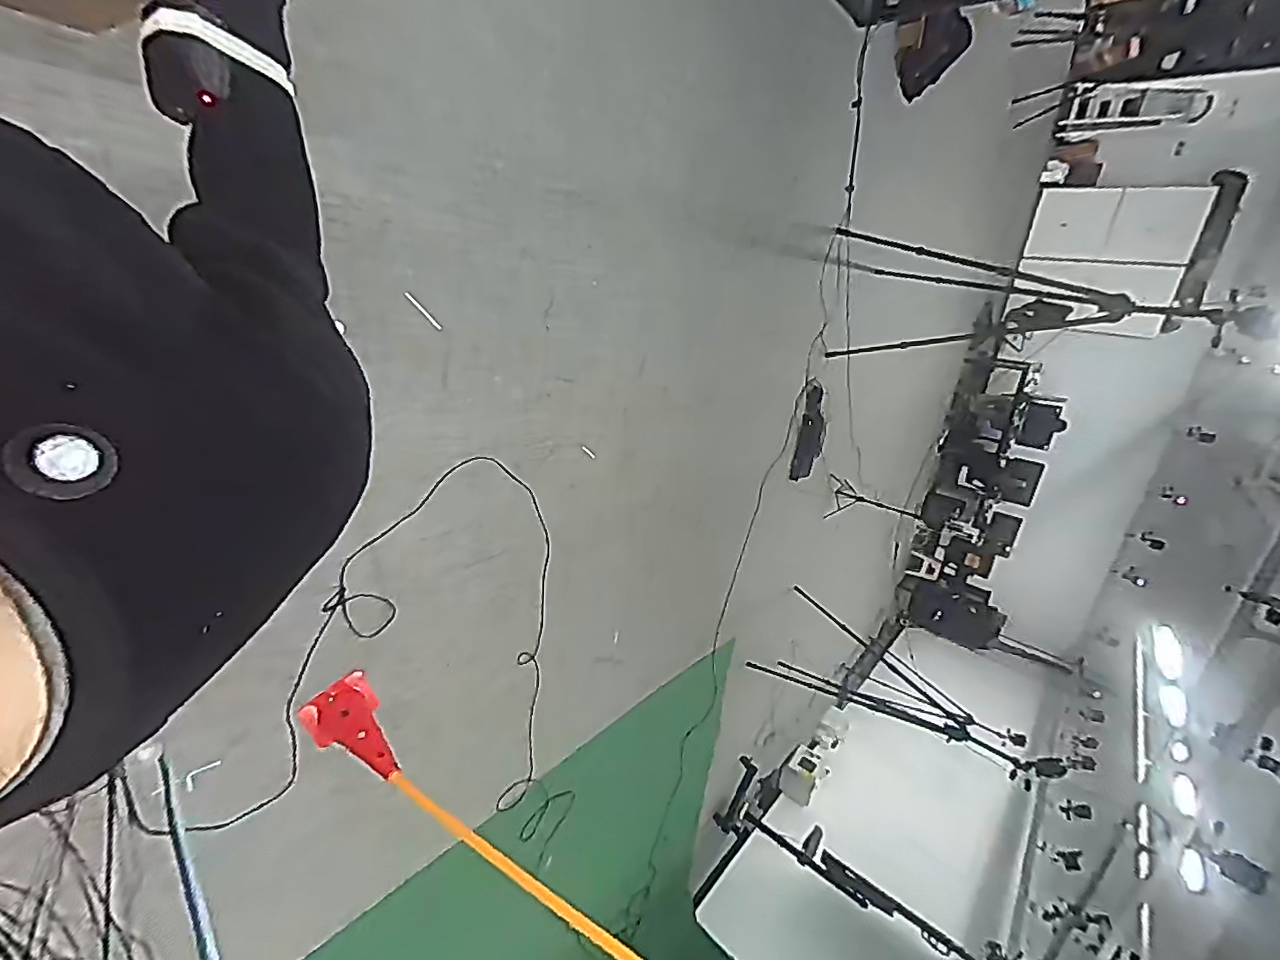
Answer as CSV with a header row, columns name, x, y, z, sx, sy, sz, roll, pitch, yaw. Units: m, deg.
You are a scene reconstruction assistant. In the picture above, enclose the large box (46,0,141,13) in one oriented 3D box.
name,x,y,z,sx,sy,sz,roll,pitch,yaw
large box,-0.538,-0.511,0.271,0.408,0.320,0.320,-18,125,-48
